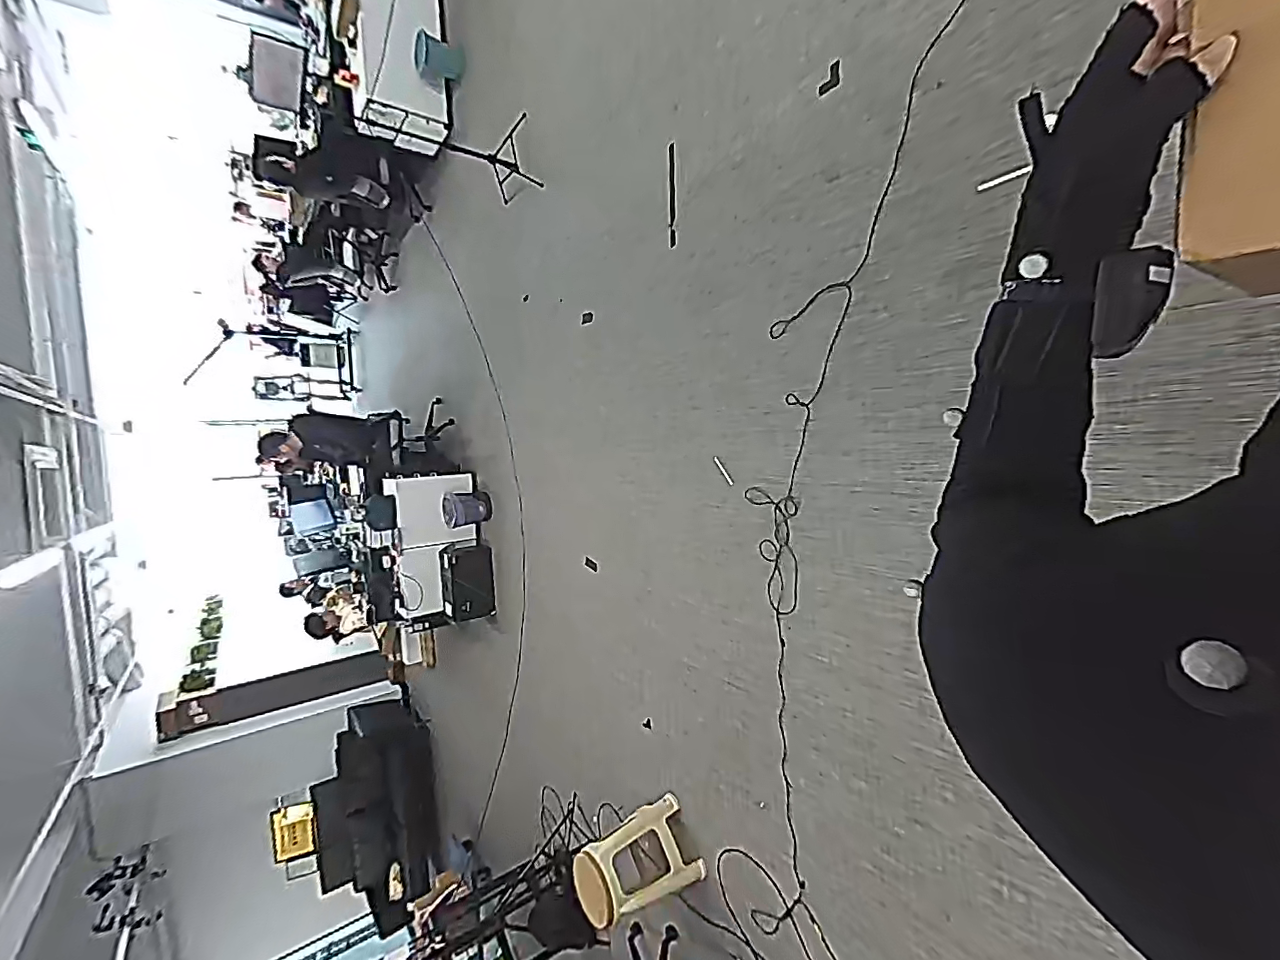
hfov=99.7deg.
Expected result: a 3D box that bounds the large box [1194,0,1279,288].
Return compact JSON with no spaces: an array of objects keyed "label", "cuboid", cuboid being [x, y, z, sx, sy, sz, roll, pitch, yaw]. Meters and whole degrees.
[{"label":"large box","cuboid":[0.555,-0.295,0.238,0.408,0.320,0.320,6,104,52]}]
